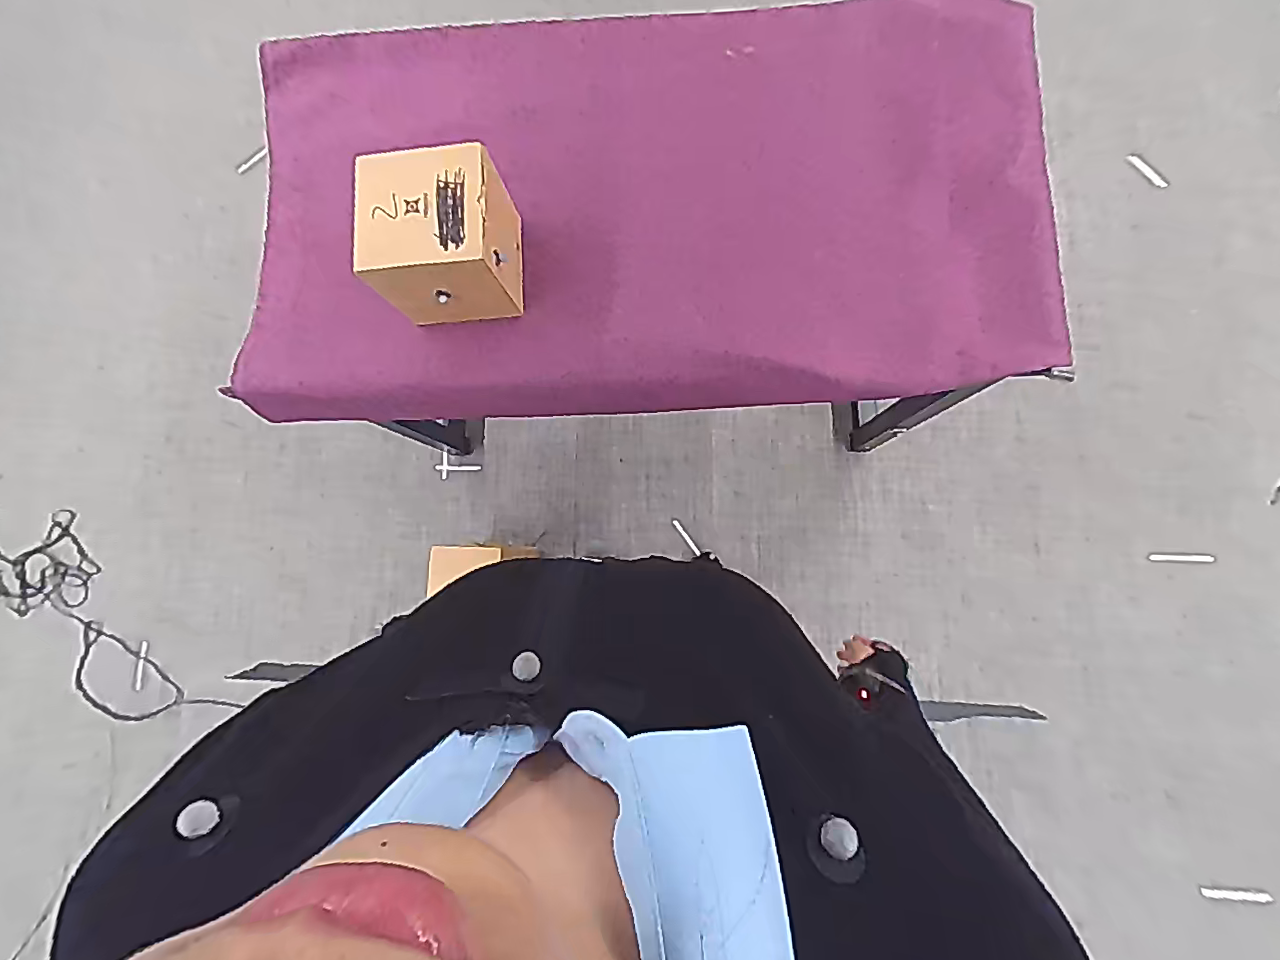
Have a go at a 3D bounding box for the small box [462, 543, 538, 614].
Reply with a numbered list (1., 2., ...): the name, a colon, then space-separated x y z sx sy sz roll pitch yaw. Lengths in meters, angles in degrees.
1. small box: -0.380 0.265 1.446 0.168 0.176 0.179 7 83 5

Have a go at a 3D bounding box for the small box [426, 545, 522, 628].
1. small box: -0.384 0.248 1.282 0.168 0.176 0.179 1 83 5
